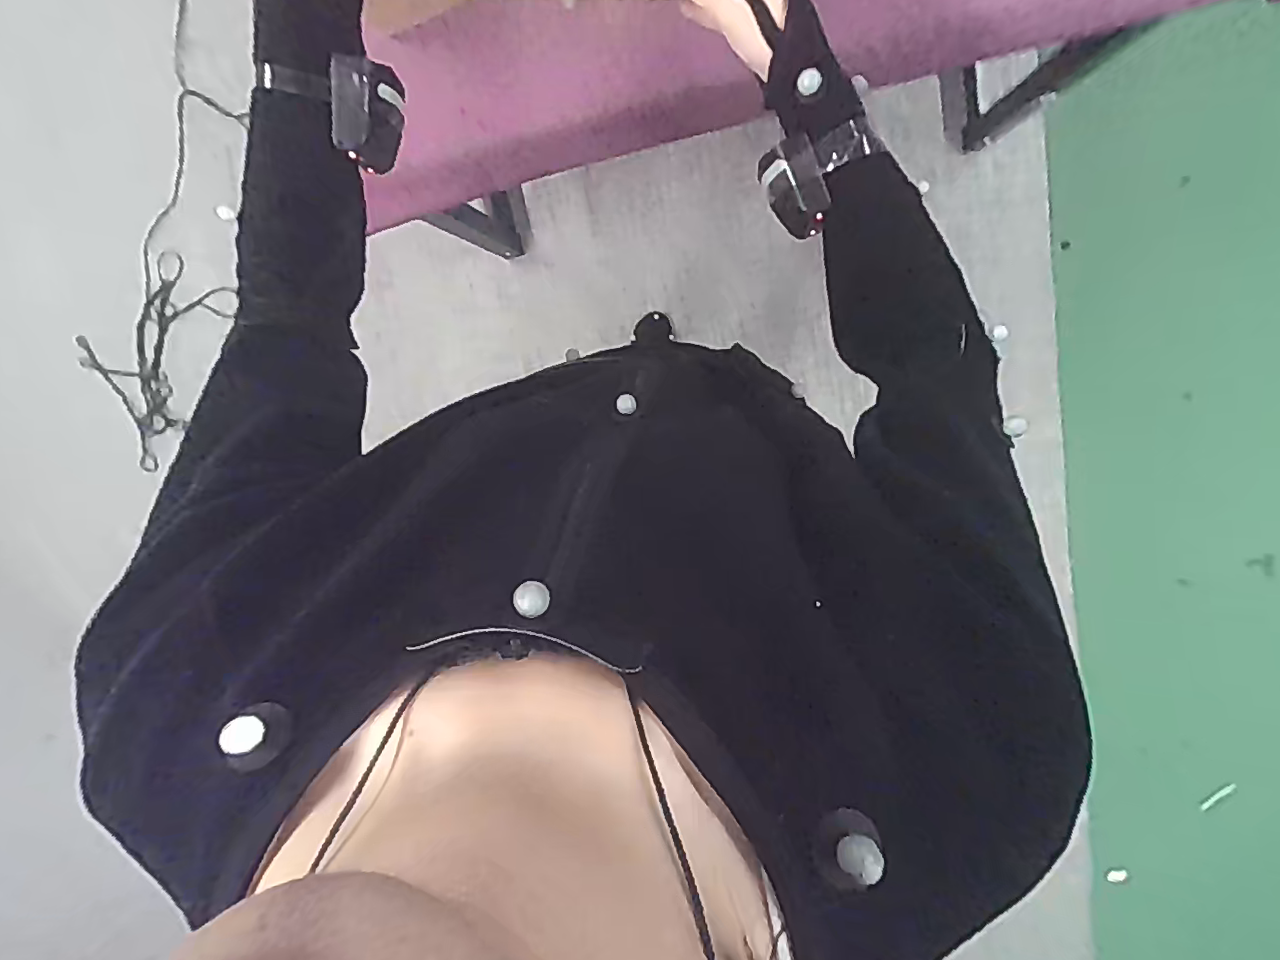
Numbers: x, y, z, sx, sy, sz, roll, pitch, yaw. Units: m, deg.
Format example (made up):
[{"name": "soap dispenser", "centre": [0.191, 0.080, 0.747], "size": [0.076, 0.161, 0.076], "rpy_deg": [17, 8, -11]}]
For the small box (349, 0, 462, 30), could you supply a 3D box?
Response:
[{"name": "small box", "centre": [-0.274, -0.628, 0.565], "size": [0.179, 0.176, 0.168], "rpy_deg": [-15, 102, 9]}]
